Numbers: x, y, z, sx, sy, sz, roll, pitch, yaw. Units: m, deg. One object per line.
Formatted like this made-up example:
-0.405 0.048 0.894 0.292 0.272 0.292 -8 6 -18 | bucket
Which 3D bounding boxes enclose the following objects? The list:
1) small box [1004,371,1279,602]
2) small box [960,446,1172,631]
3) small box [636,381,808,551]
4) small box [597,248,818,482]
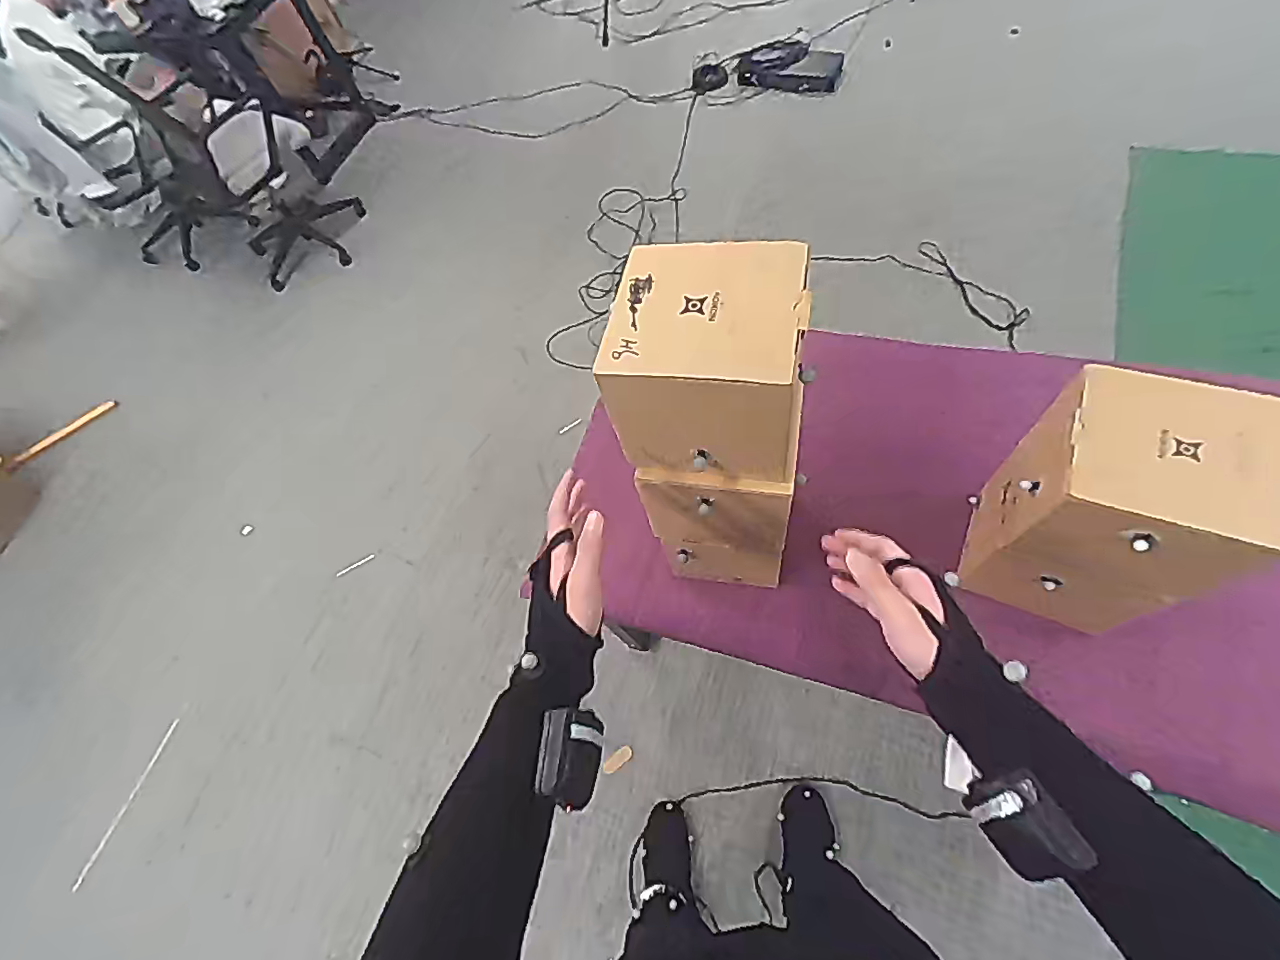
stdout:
0.530 0.014 0.583 0.179 0.176 0.168 19 69 20 | small box
0.562 0.085 0.727 0.179 0.176 0.168 20 69 20 | small box
0.110 -0.020 0.689 0.179 0.176 0.168 7 64 15 | small box
0.076 -0.111 0.555 0.179 0.176 0.168 7 63 15 | small box
